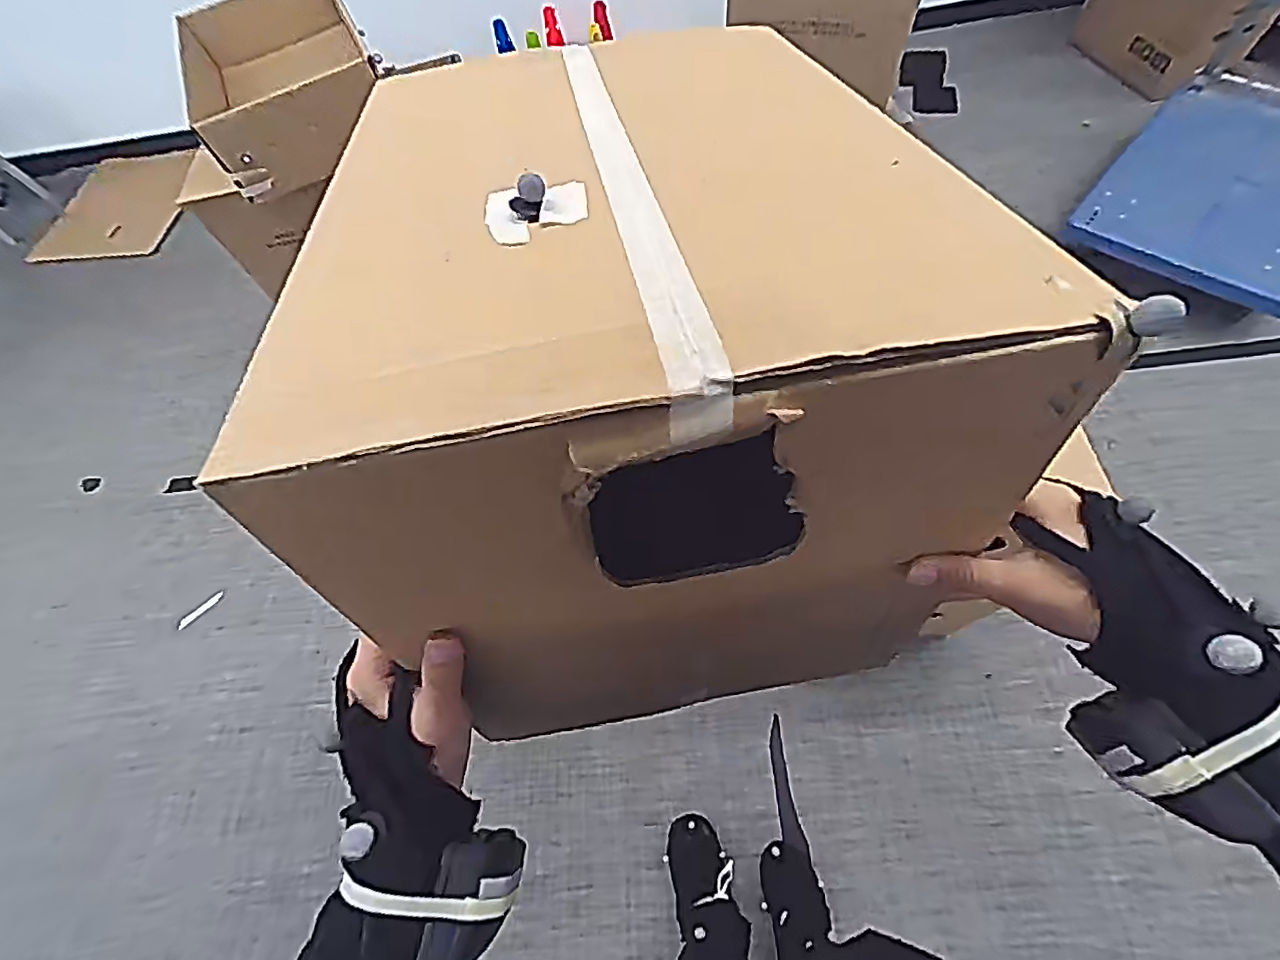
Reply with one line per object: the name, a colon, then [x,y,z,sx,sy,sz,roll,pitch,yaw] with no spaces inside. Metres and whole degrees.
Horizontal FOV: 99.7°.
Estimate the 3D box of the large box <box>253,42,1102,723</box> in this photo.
large box: [-0.009,-0.083,0.423,0.320,0.320,0.408,-11,52,-3]
